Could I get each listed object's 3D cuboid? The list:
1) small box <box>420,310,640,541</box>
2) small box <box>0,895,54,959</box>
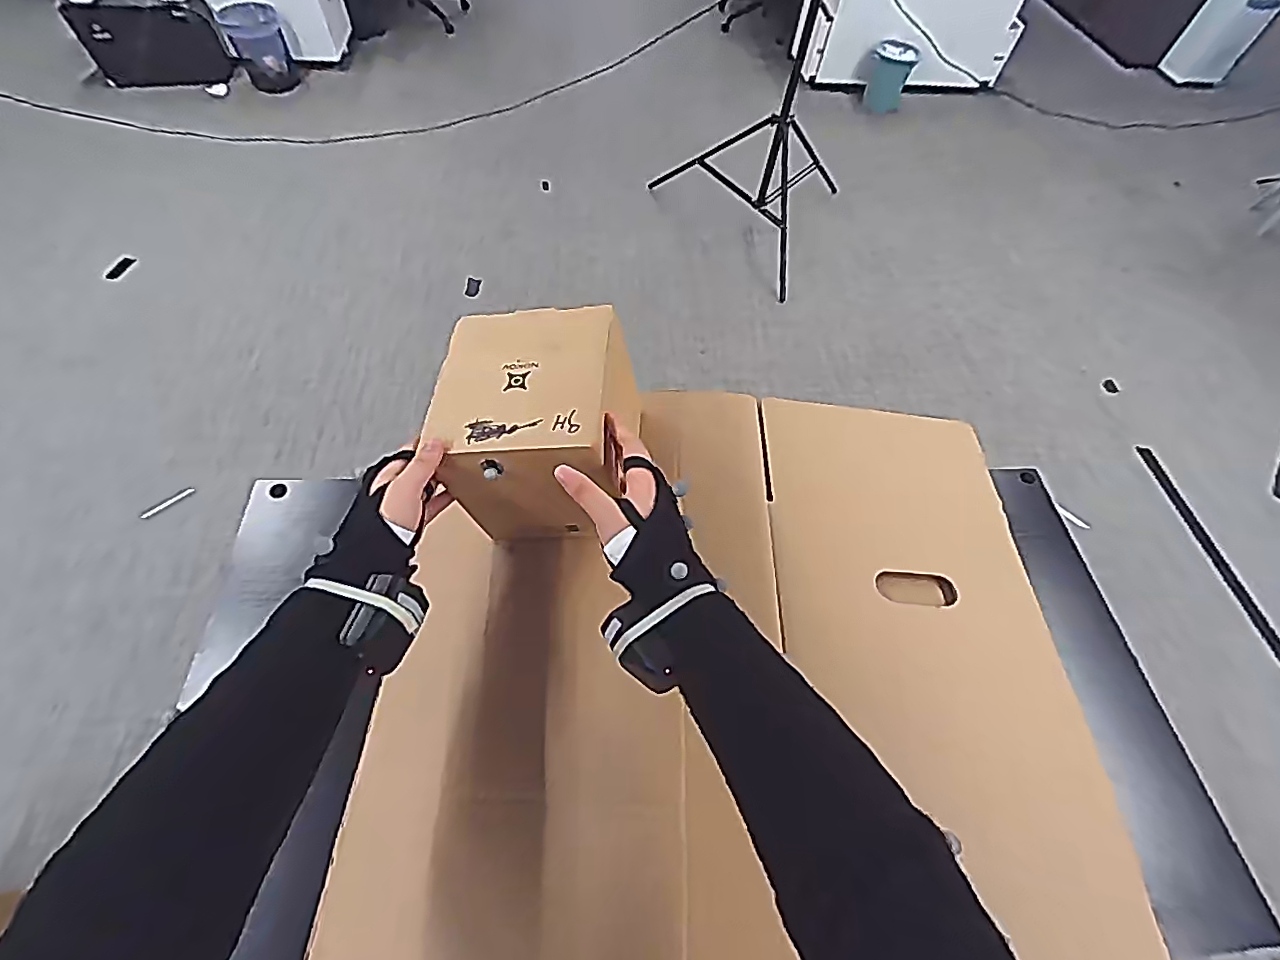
[{"bbox_3d":[-0.096,-0.051,0.571,0.168,0.176,0.179,-3,57,10],"label":"small box"},{"bbox_3d":[-1.221,0.858,0.959,0.168,0.176,0.179,-5,59,-7],"label":"small box"}]
